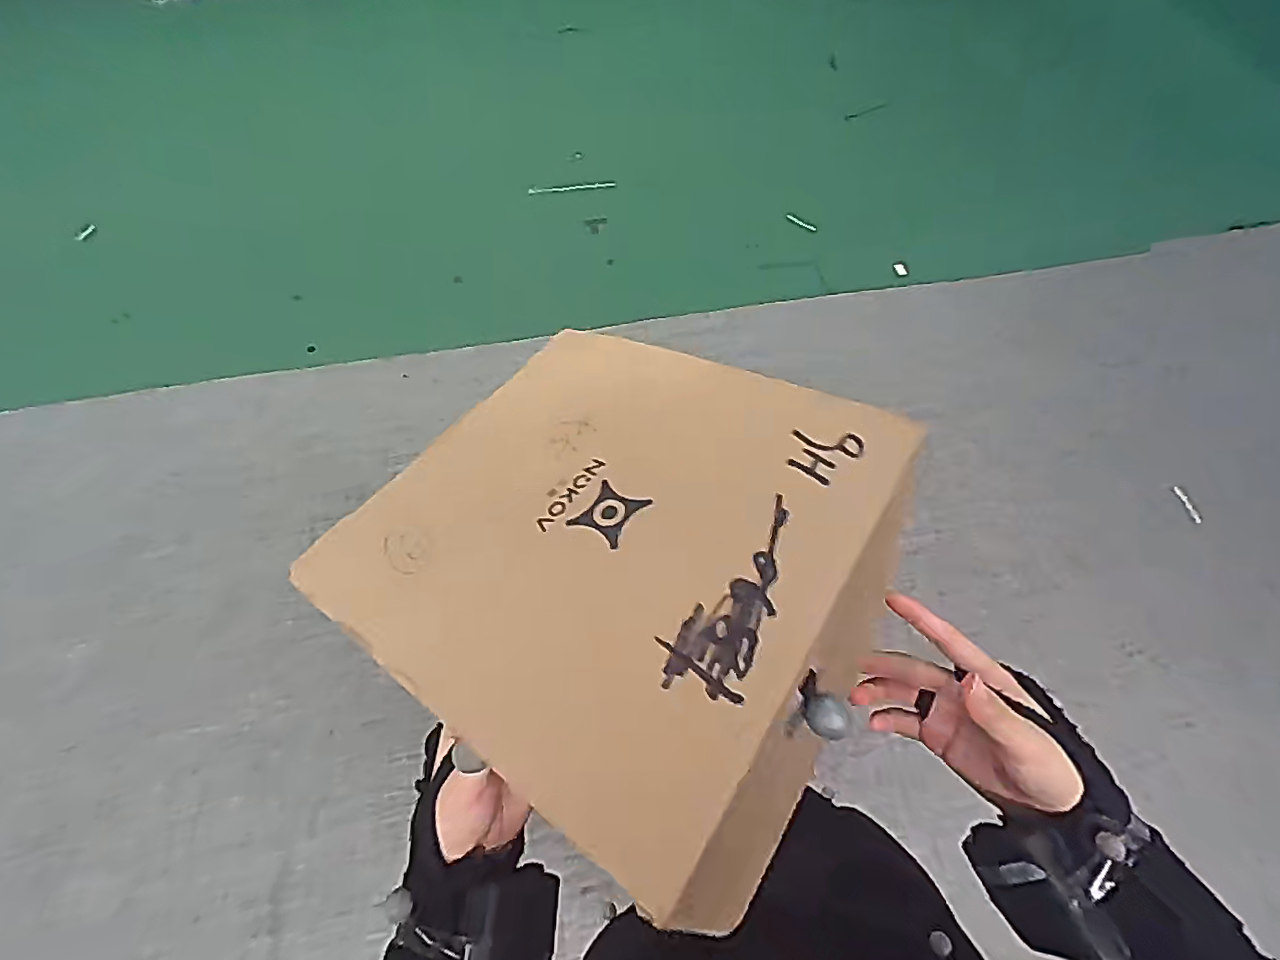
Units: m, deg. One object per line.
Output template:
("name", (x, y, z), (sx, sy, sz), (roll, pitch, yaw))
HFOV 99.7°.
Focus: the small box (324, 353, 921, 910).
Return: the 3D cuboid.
("small box", (0.006, 0.068, 0.261), (0.179, 0.176, 0.168), (21, 59, 31))
